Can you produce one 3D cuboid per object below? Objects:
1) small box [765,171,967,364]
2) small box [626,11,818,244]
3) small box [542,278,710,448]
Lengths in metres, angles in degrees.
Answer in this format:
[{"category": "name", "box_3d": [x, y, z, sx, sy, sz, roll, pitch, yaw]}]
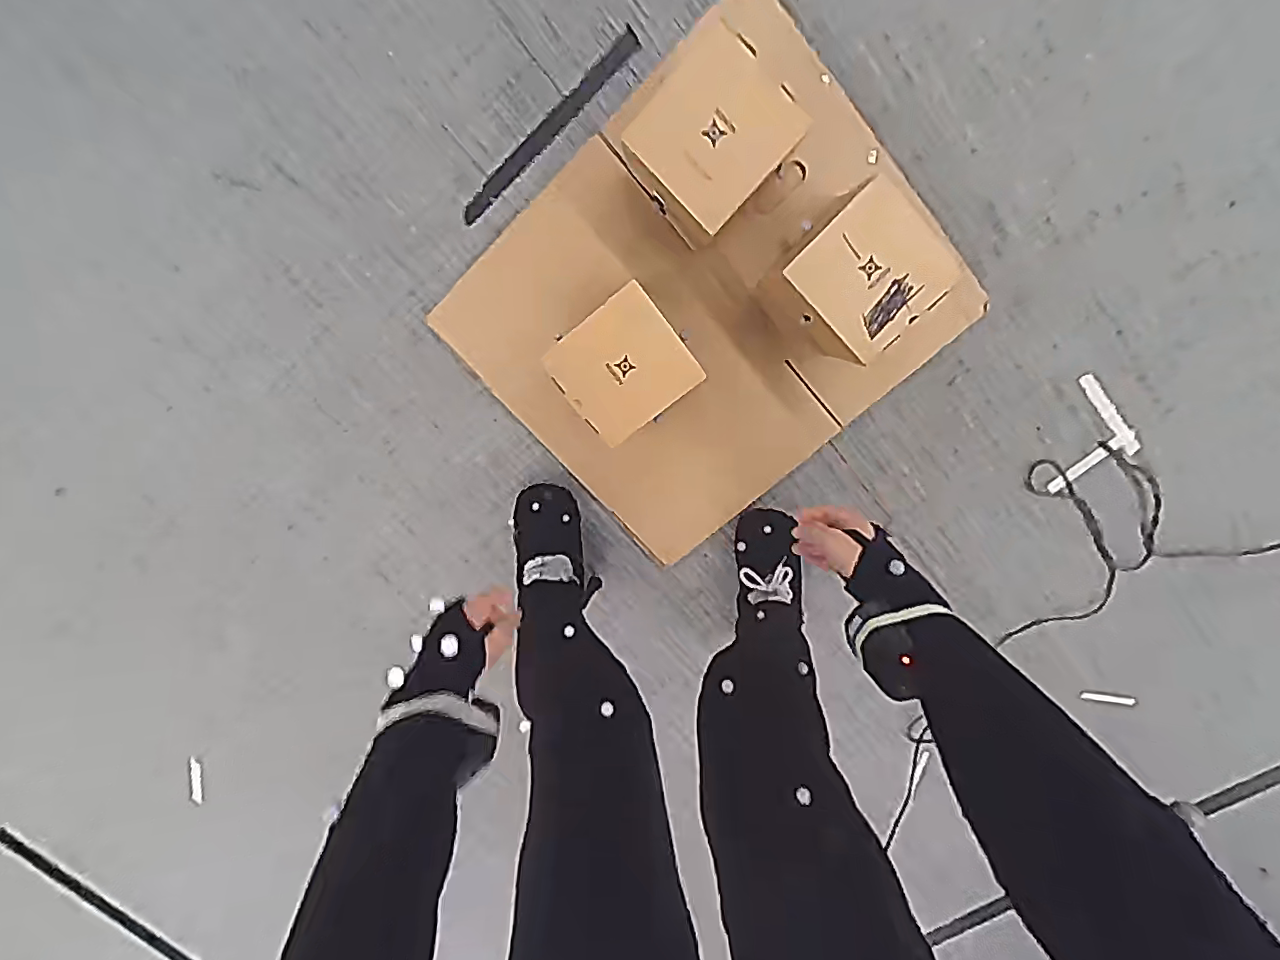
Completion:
[{"category": "small box", "box_3d": [0.304, -0.292, 0.765, 0.179, 0.176, 0.168, 43, 104, -11]}, {"category": "small box", "box_3d": [0.100, -0.448, 0.725, 0.168, 0.176, 0.179, 42, 105, -9]}, {"category": "small box", "box_3d": [-0.018, -0.180, 0.811, 0.179, 0.176, 0.168, -37, 103, 13]}]
